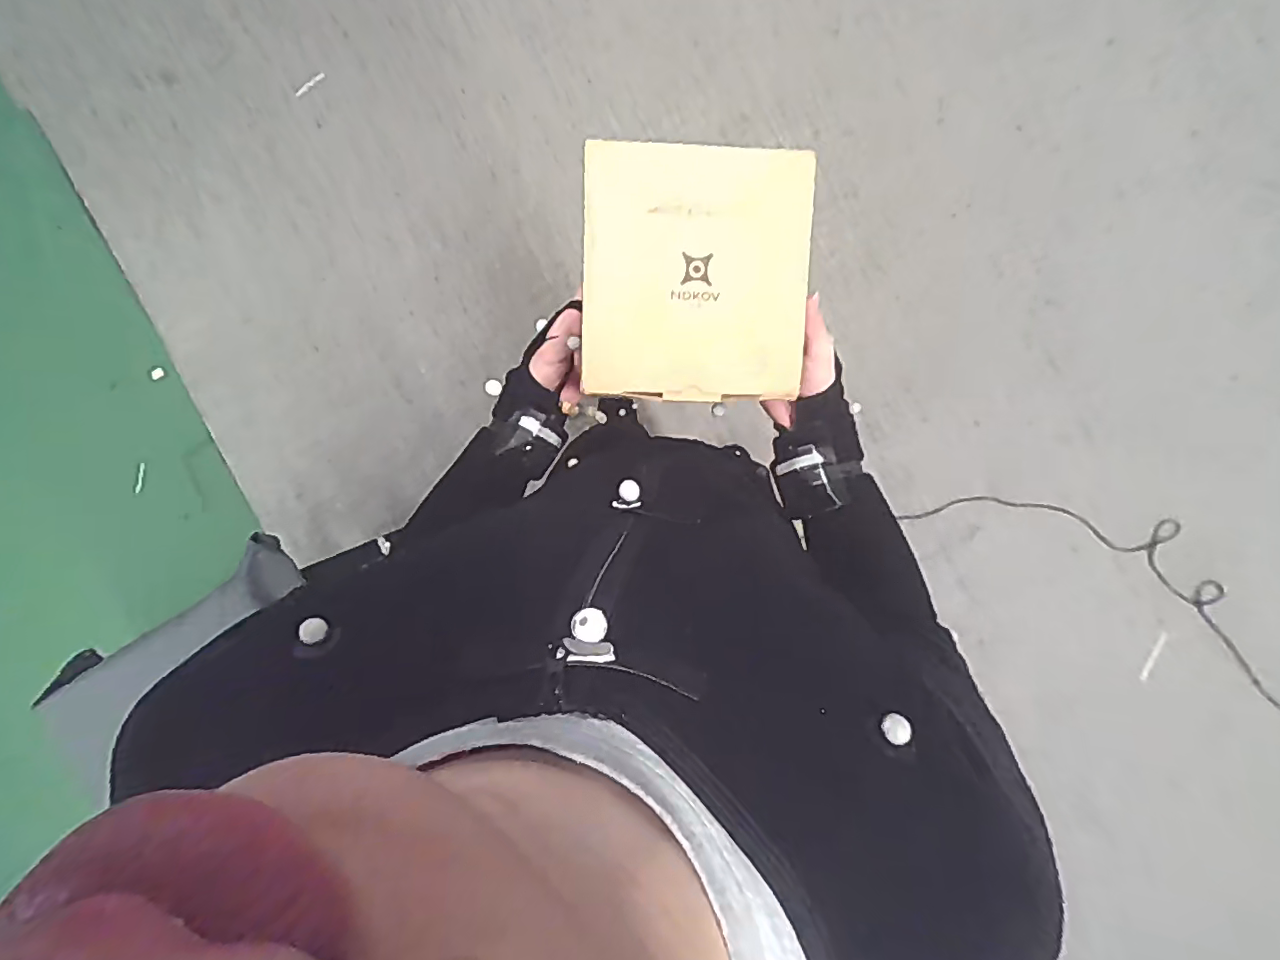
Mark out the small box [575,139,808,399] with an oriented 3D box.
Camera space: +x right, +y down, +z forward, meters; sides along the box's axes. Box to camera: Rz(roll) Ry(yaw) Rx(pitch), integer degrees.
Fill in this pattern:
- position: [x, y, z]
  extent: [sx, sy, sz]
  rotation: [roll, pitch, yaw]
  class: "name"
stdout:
- position: [0.031, -0.160, 0.468]
  extent: [0.168, 0.176, 0.179]
  rotation: [0, 98, -4]
  class: "small box"
